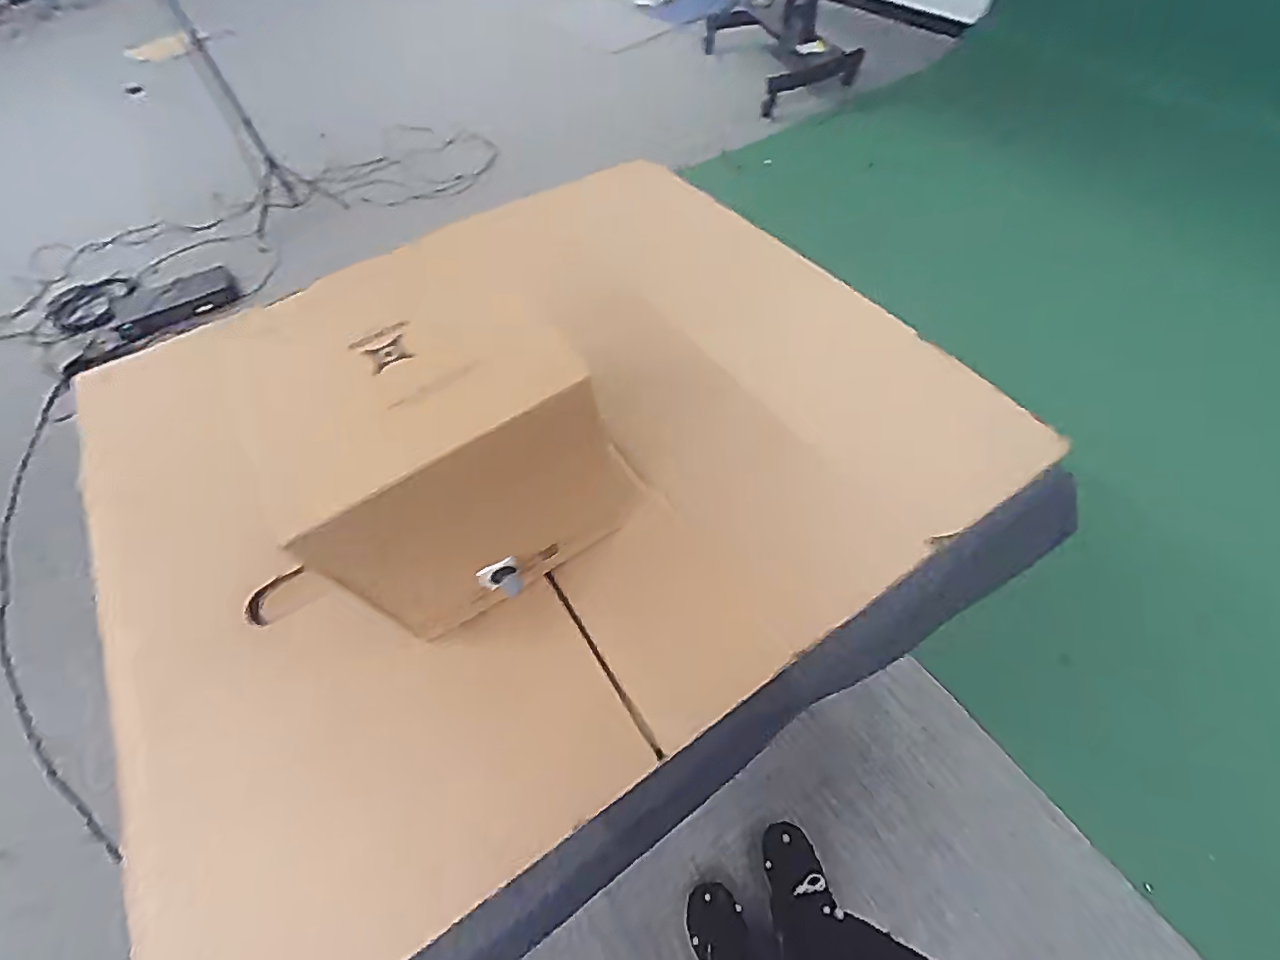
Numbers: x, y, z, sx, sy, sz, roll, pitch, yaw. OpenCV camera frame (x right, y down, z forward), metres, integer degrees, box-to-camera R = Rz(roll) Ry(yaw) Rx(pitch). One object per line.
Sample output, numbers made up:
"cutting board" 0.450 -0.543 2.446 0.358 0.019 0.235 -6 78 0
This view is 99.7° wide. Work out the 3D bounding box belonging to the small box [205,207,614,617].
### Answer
"small box" -0.135 -0.039 0.363 0.168 0.176 0.179 -32 61 -14
